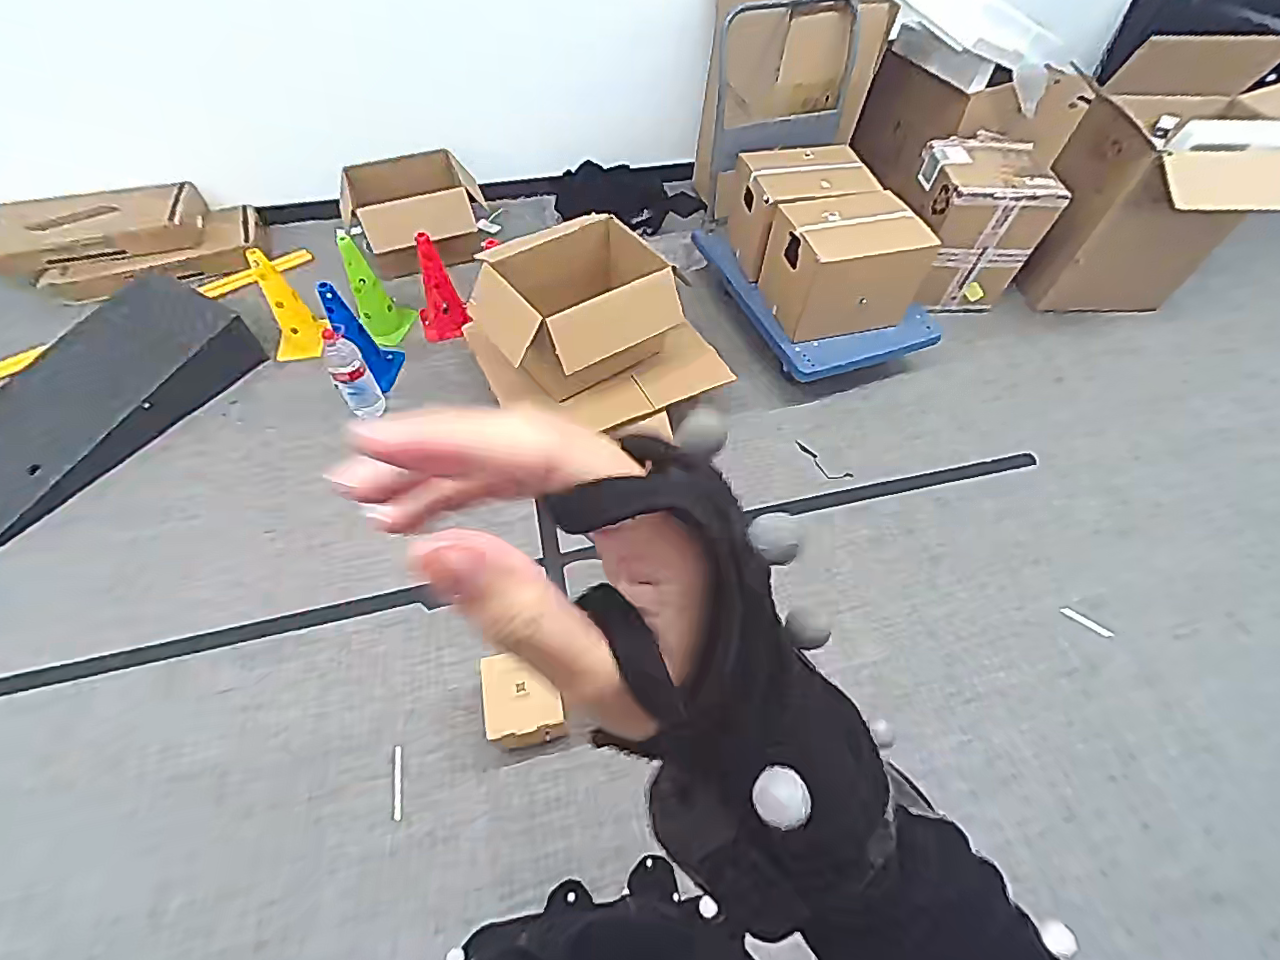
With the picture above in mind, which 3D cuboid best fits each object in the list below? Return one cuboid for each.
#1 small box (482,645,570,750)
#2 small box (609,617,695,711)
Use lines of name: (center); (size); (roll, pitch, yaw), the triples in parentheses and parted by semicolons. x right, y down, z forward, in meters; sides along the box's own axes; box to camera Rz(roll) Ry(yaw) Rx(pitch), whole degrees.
small box: (-0.258, 0.505, 1.243); (0.168, 0.176, 0.179); (-11, 56, -11)
small box: (0.022, 0.443, 1.295); (0.179, 0.176, 0.168); (-6, 57, -7)
